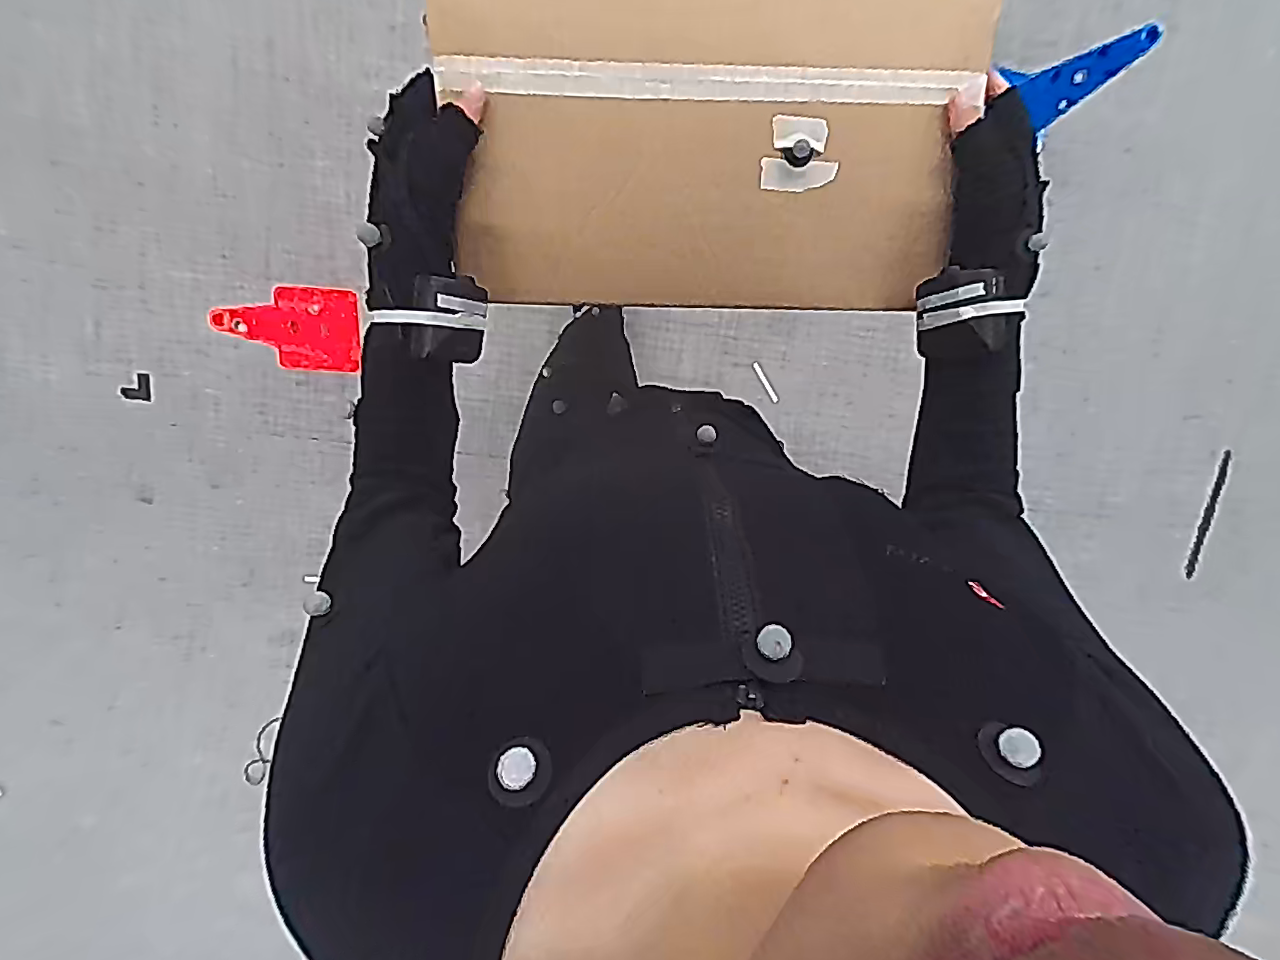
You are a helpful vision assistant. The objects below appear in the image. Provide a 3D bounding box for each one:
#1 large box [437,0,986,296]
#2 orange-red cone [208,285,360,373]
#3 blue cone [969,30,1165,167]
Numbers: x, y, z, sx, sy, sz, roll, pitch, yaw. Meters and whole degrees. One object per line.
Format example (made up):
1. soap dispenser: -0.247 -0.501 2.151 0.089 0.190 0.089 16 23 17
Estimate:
1. large box: 0.045 -0.355 0.544 0.408 0.320 0.320 0 112 -3
2. orange-red cone: -0.785 -0.330 1.167 0.198 0.360 0.199 4 104 -4
3. blue cone: 0.926 -0.852 1.174 0.192 0.380 0.193 9 102 -7
